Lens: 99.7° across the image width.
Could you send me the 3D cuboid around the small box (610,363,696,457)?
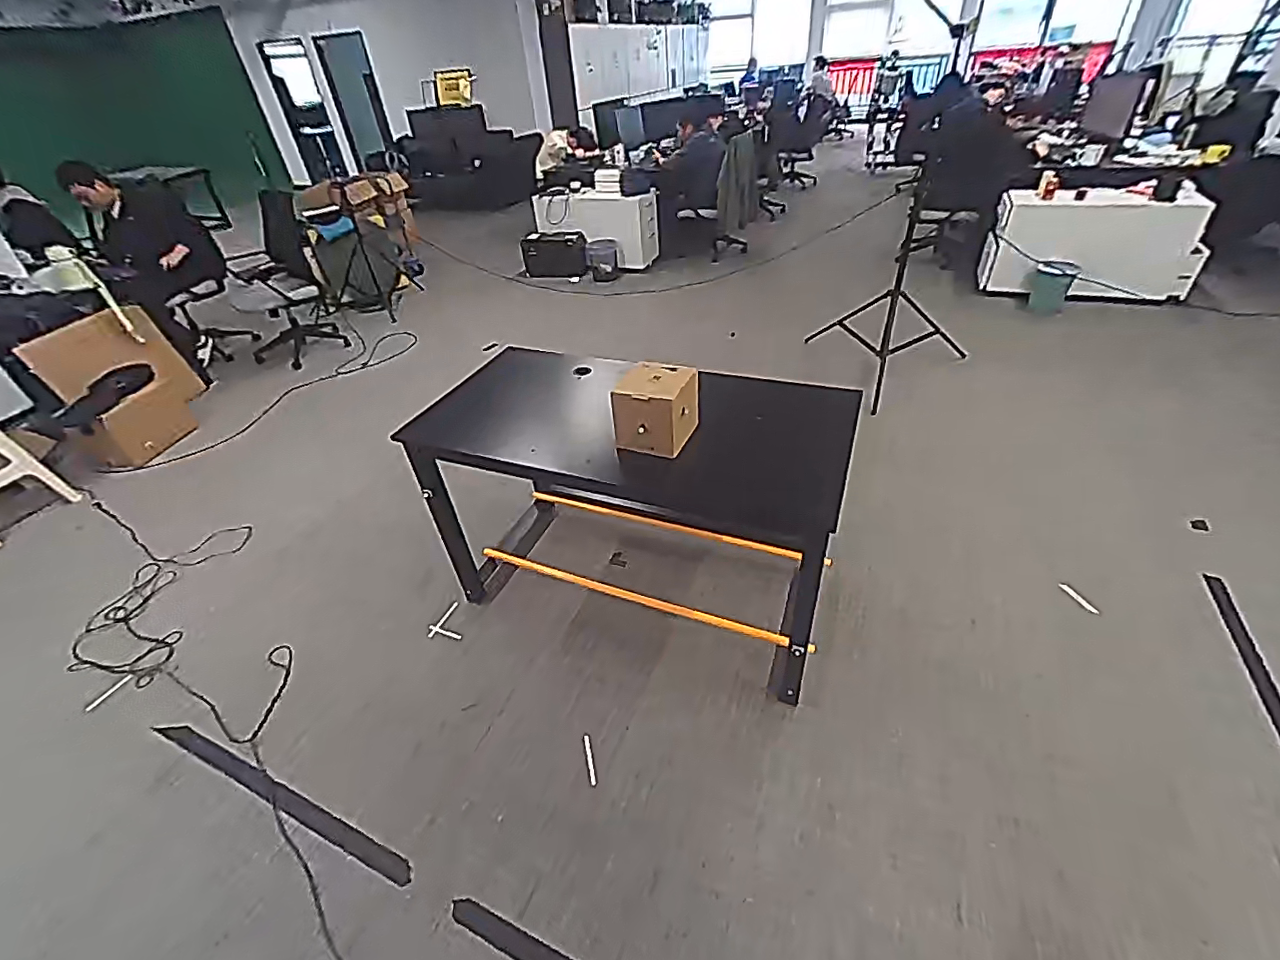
[{"bbox_3d":[0.043,-0.179,1.386,0.168,0.176,0.179,13,42,22],"label":"small box"}]
